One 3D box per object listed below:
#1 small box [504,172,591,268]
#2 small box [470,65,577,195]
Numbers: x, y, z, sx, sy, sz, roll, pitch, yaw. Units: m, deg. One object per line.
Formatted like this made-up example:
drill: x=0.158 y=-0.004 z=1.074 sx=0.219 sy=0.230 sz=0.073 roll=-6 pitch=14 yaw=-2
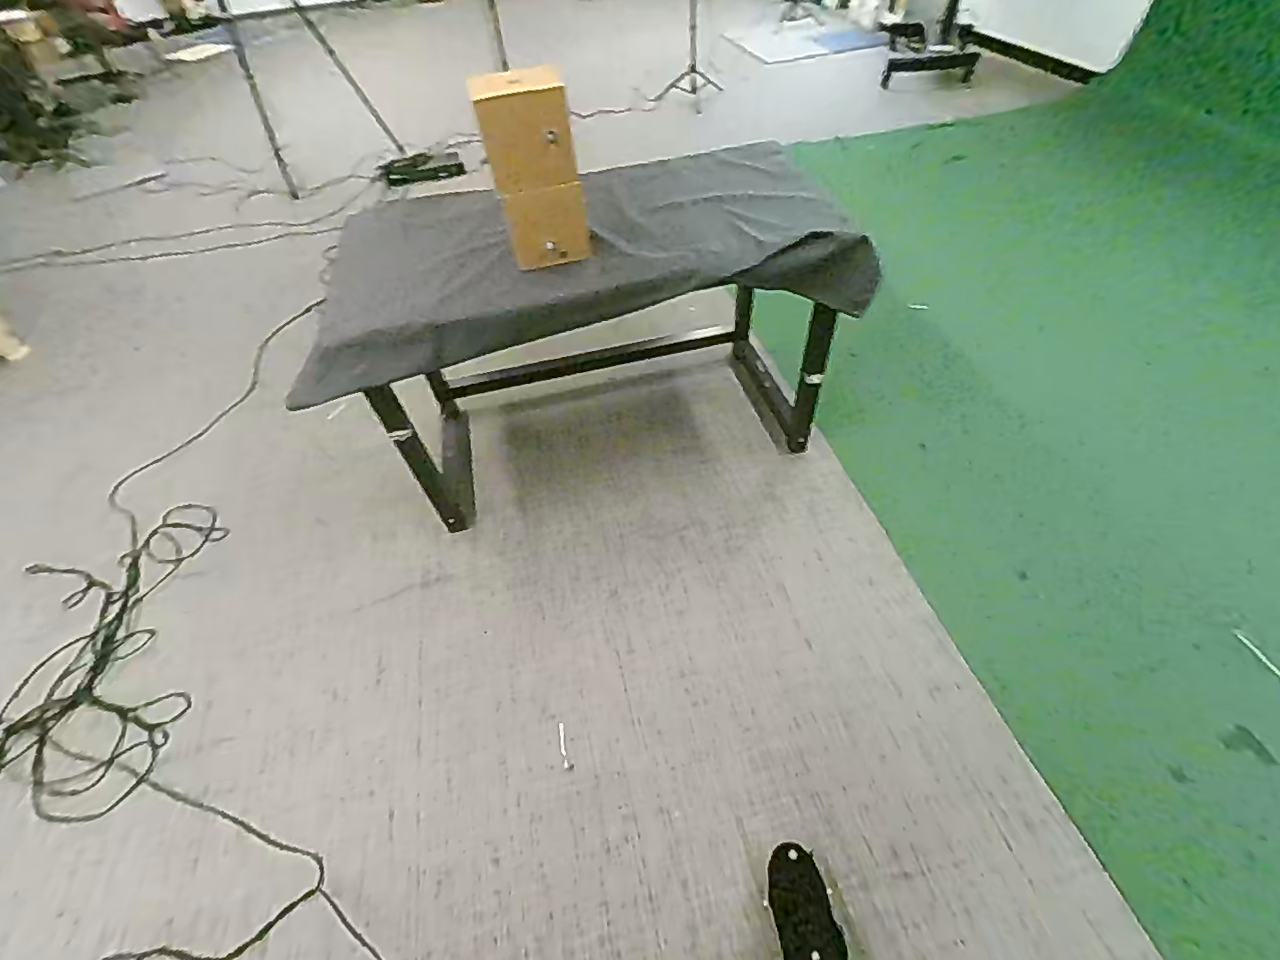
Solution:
small box: x=-0.213 y=-0.609 z=1.226 sx=0.168 sy=0.176 sz=0.179 roll=-13 pitch=52 yaw=-5
small box: x=-0.230 y=-0.709 z=1.100 sx=0.179 sy=0.176 sz=0.168 roll=-15 pitch=50 yaw=-6
